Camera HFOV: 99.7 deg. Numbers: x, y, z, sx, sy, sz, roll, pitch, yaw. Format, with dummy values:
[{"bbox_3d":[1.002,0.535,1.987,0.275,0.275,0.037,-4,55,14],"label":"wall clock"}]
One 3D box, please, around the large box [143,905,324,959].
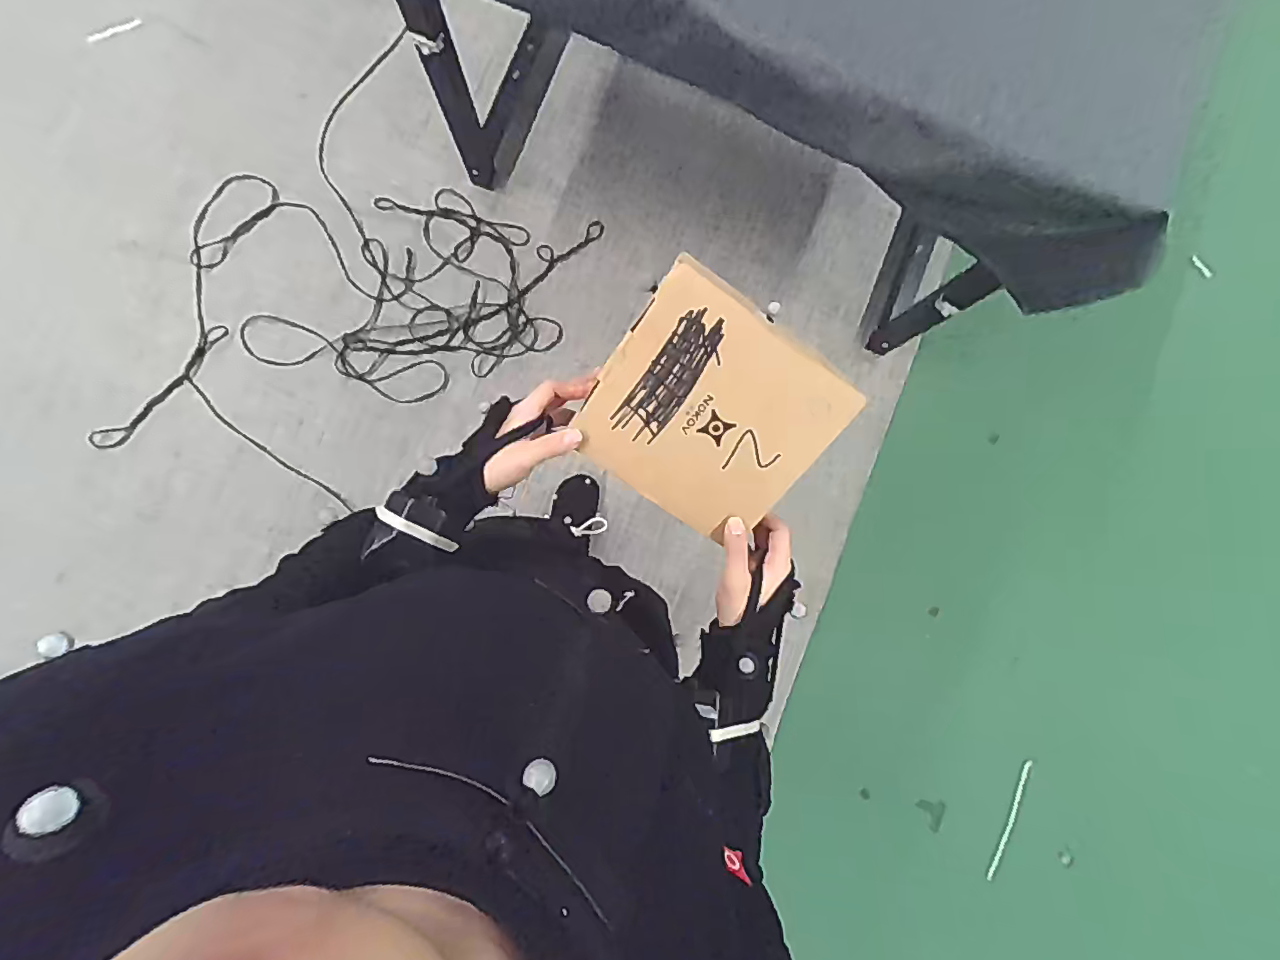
[{"bbox_3d":[-0.900,1.195,1.101,0.408,0.320,0.320,27,84,-1],"label":"large box"}]
